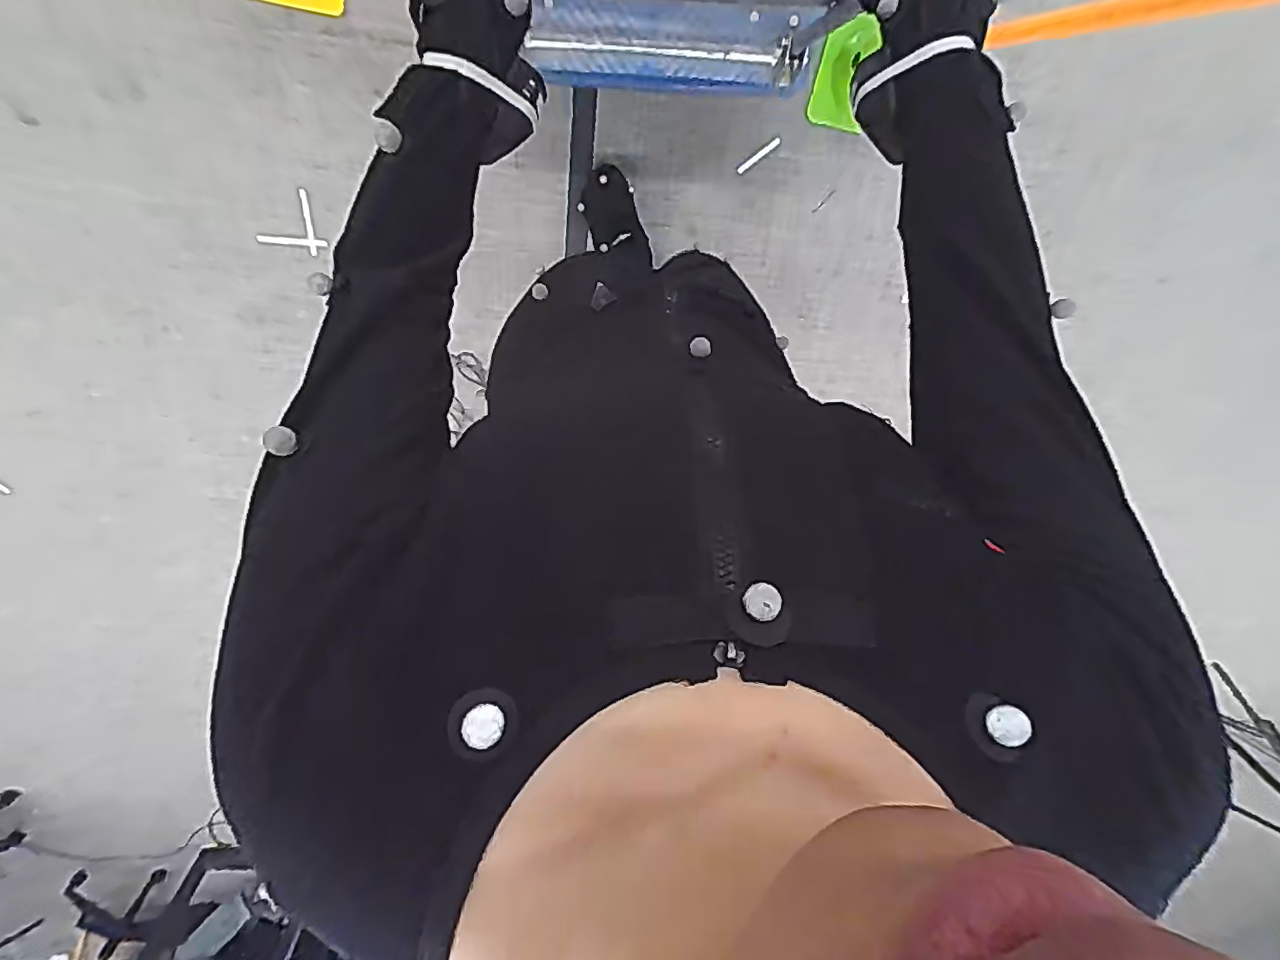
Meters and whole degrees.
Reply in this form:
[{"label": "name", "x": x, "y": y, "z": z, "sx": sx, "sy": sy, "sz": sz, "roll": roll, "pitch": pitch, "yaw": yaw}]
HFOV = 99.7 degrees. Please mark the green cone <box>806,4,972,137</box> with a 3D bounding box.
[{"label": "green cone", "x": 0.475, "y": -0.759, "z": 0.984, "sx": 0.202, "sy": 0.368, "sz": 0.200, "roll": 7, "pitch": 121, "yaw": -9}]
